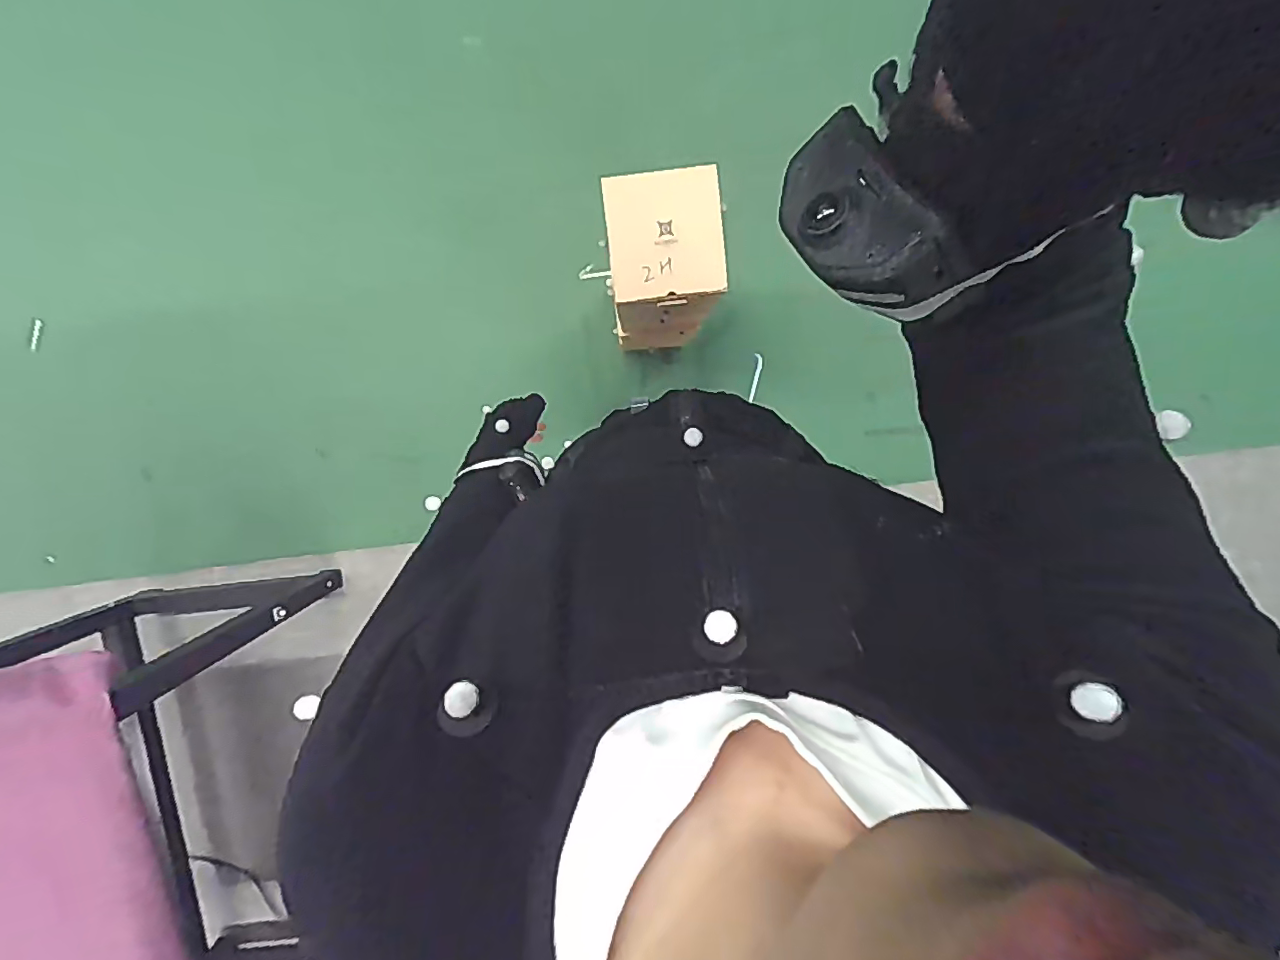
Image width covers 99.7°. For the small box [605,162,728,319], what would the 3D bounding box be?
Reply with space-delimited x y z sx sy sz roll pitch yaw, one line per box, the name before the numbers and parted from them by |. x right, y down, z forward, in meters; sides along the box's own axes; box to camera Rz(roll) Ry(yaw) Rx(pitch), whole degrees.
small box | 0.037 -0.362 0.845 0.168 0.176 0.179 -6 98 1

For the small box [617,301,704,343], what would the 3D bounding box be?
small box | 0.039 -0.397 1.173 0.179 0.176 0.168 -6 98 1

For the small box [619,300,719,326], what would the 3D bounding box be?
small box | 0.044 -0.387 1.006 0.179 0.176 0.168 -4 96 0
